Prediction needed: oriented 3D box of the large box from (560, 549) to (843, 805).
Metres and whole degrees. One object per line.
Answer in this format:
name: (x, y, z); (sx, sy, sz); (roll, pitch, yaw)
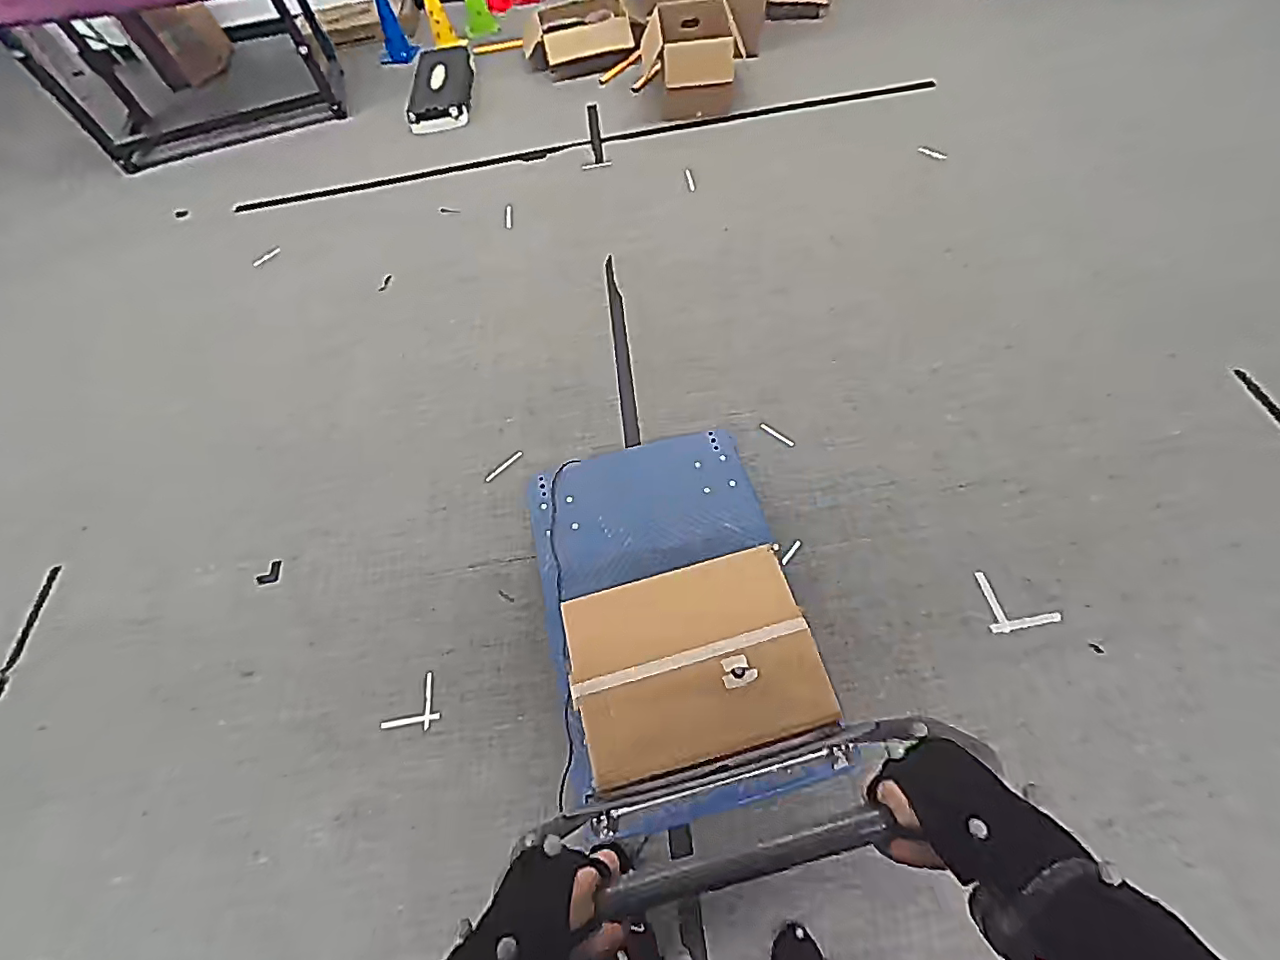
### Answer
large box: (0.099, 0.381, 1.021); (0.408, 0.320, 0.320); (-16, 60, -3)
